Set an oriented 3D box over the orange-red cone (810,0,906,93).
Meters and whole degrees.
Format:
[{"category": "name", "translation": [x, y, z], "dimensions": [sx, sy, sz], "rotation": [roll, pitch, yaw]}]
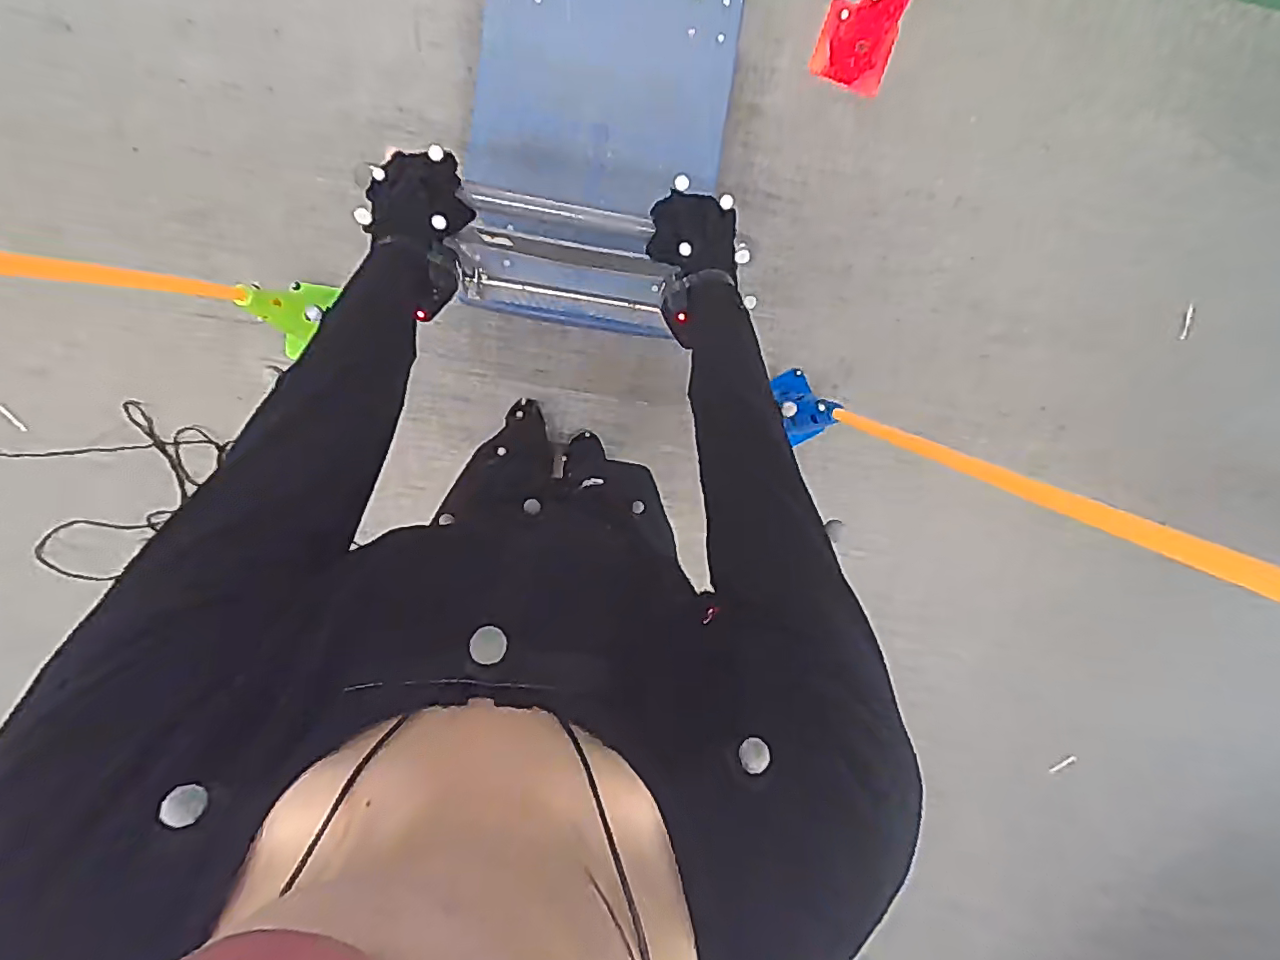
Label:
[{"category": "orange-red cone", "translation": [0.579, -1.134, 1.263], "dimensions": [0.198, 0.360, 0.199], "rotation": [19, 95, -6]}]
